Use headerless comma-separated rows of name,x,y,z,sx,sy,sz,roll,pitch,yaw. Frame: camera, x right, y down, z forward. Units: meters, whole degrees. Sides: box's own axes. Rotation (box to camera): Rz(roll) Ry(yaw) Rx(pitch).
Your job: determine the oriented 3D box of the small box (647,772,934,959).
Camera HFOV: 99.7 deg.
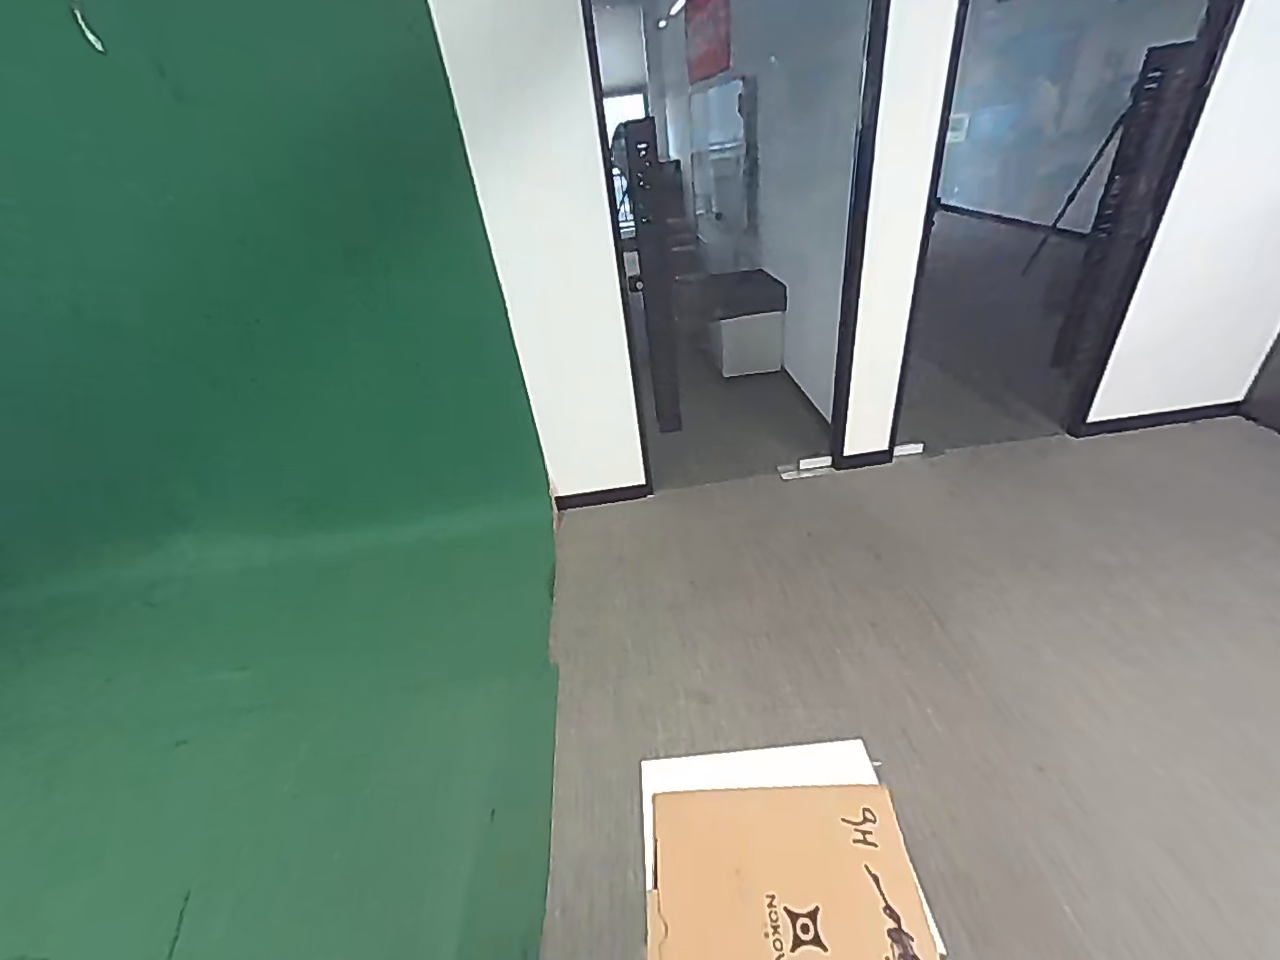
small box,0.099,0.338,0.402,0.179,0.176,0.168,-3,41,3
